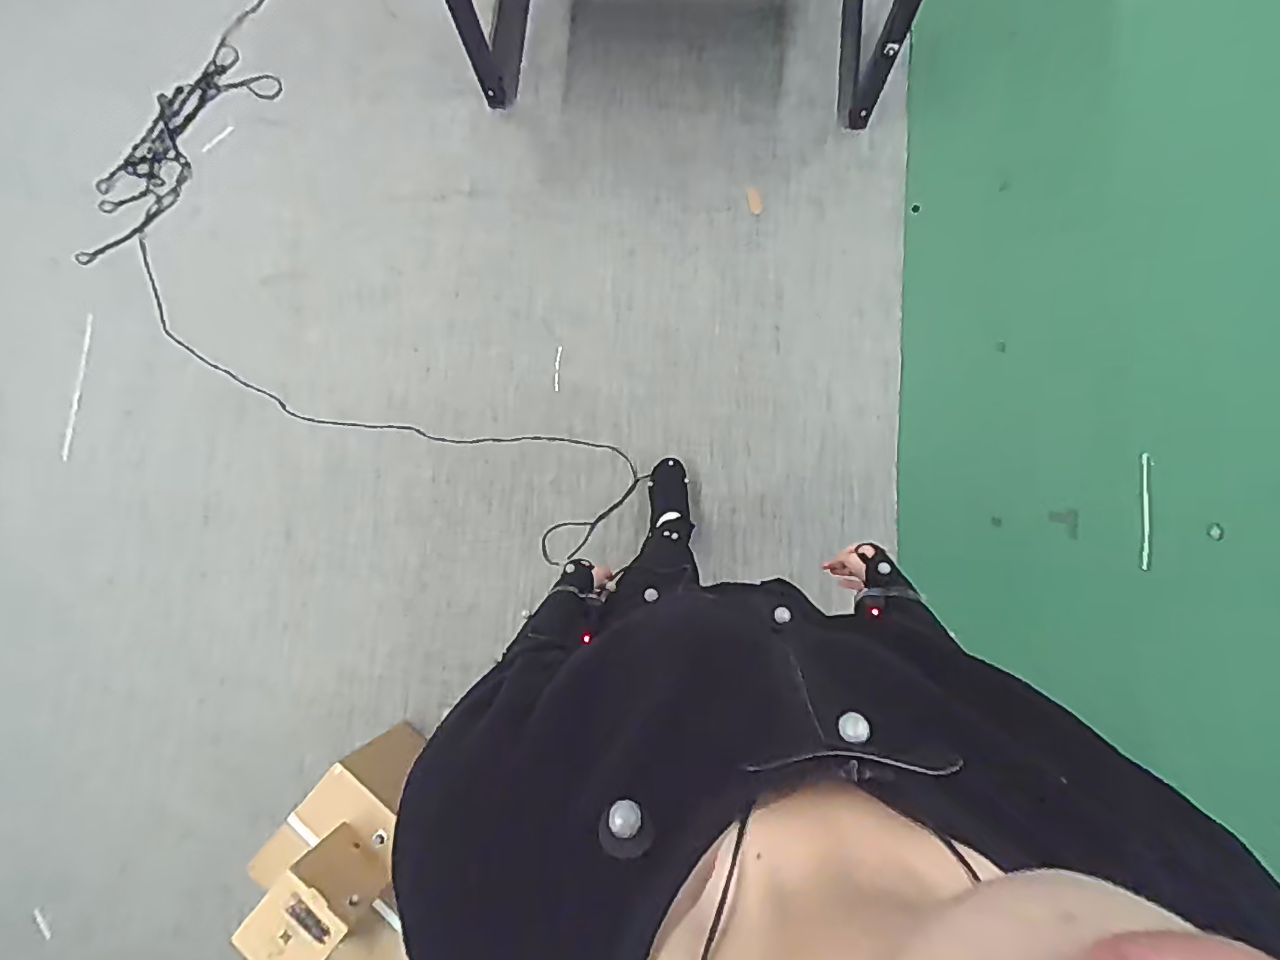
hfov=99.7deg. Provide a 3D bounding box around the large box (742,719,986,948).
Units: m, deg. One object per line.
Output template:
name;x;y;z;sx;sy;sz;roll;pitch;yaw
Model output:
large box;0.483;0.785;1.257;0.408;0.320;0.320;-9;82;1
